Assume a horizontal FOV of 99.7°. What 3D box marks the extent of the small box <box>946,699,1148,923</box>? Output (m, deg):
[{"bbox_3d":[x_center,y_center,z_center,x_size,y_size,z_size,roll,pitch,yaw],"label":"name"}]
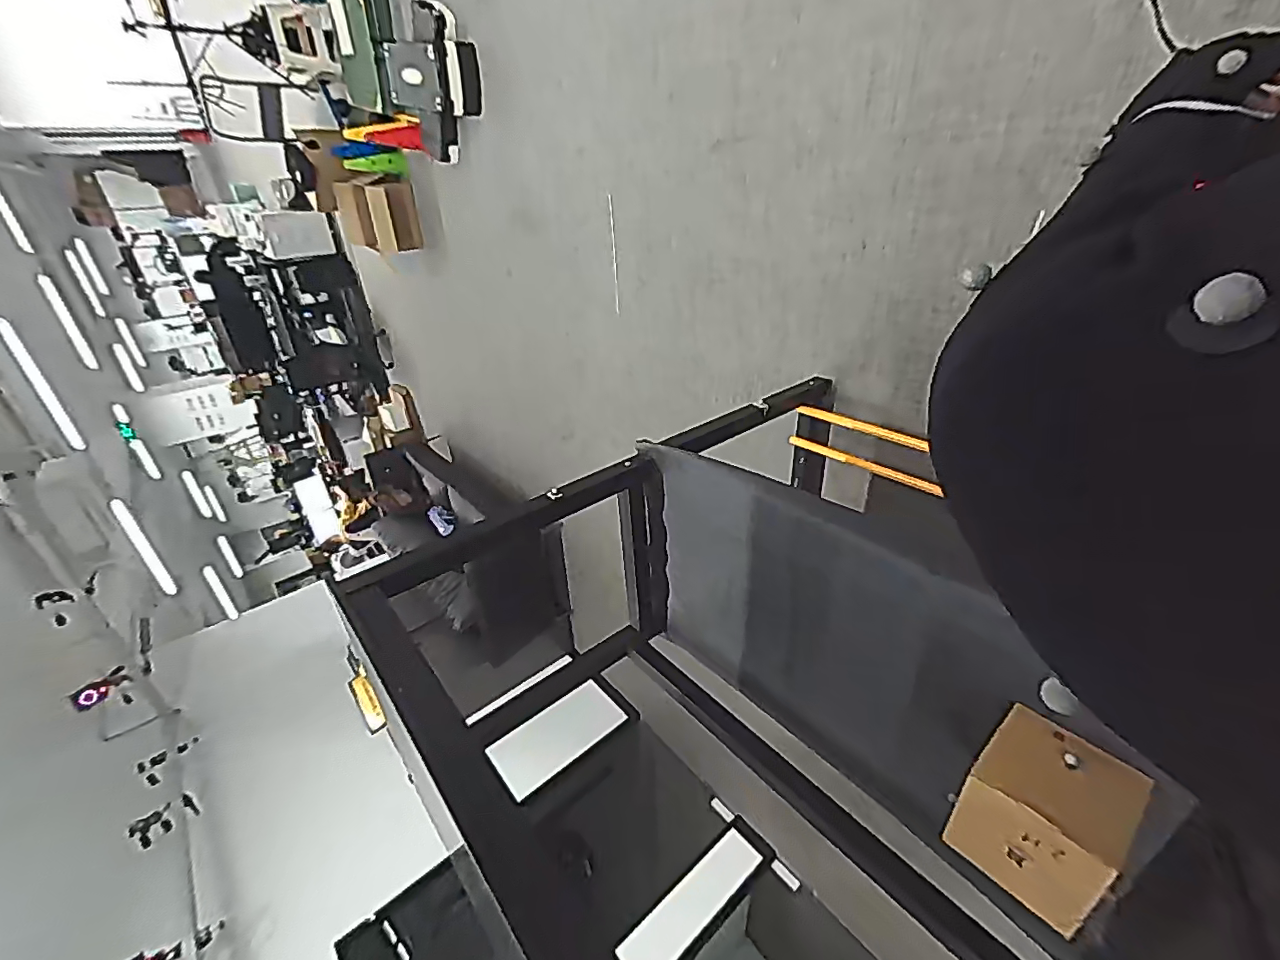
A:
[{"bbox_3d":[0.573,0.458,0.770,0.168,0.176,0.179,28,133,43],"label":"small box"}]
